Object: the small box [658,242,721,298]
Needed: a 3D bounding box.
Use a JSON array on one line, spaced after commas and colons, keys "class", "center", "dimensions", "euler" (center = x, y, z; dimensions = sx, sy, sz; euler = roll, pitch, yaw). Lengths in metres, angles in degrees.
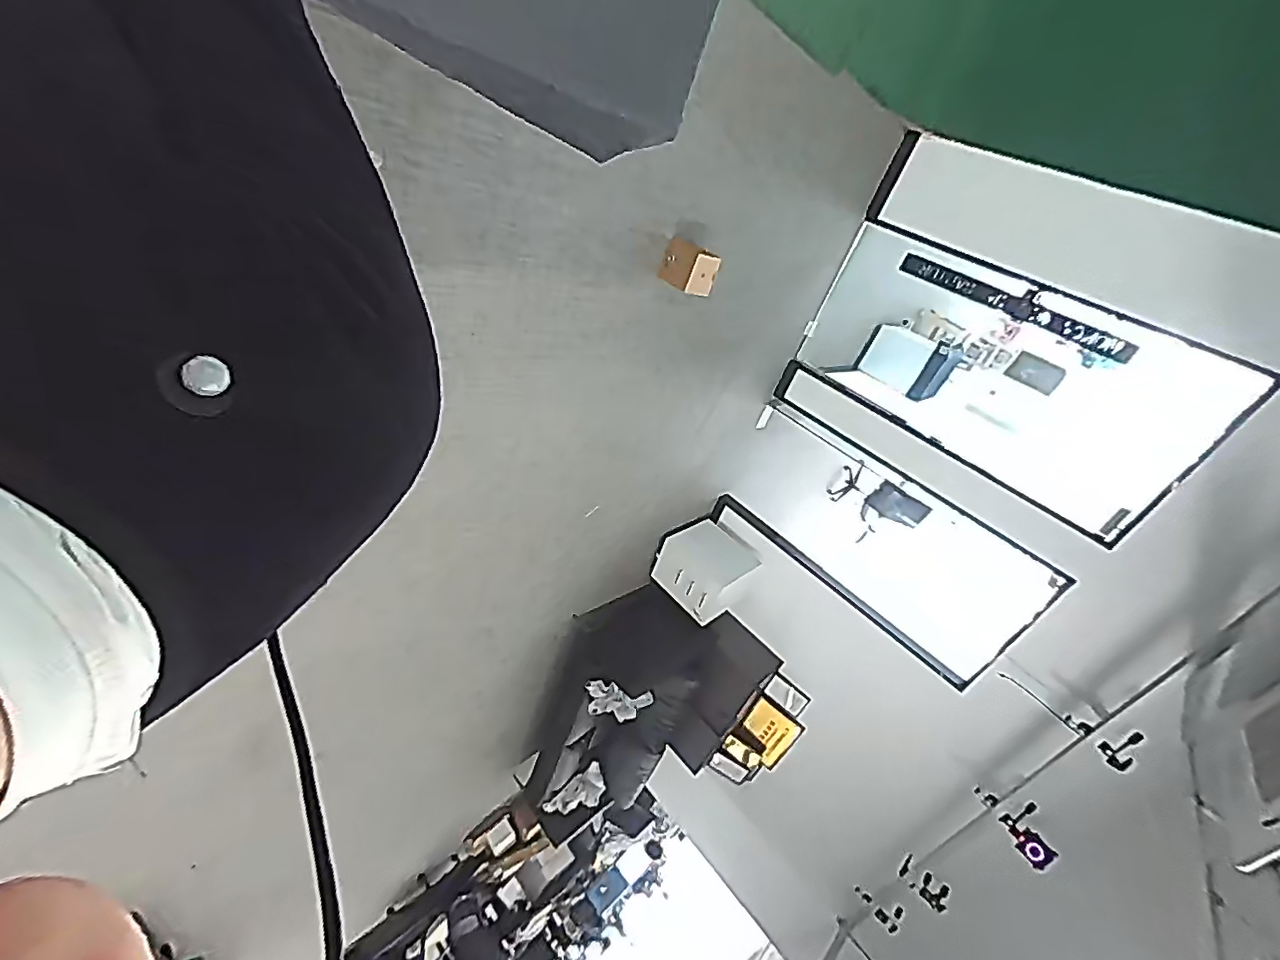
[{"class": "small box", "center": [0.208, -0.893, 2.297], "dimensions": [0.179, 0.176, 0.168], "euler": [-11, 132, -49]}]
